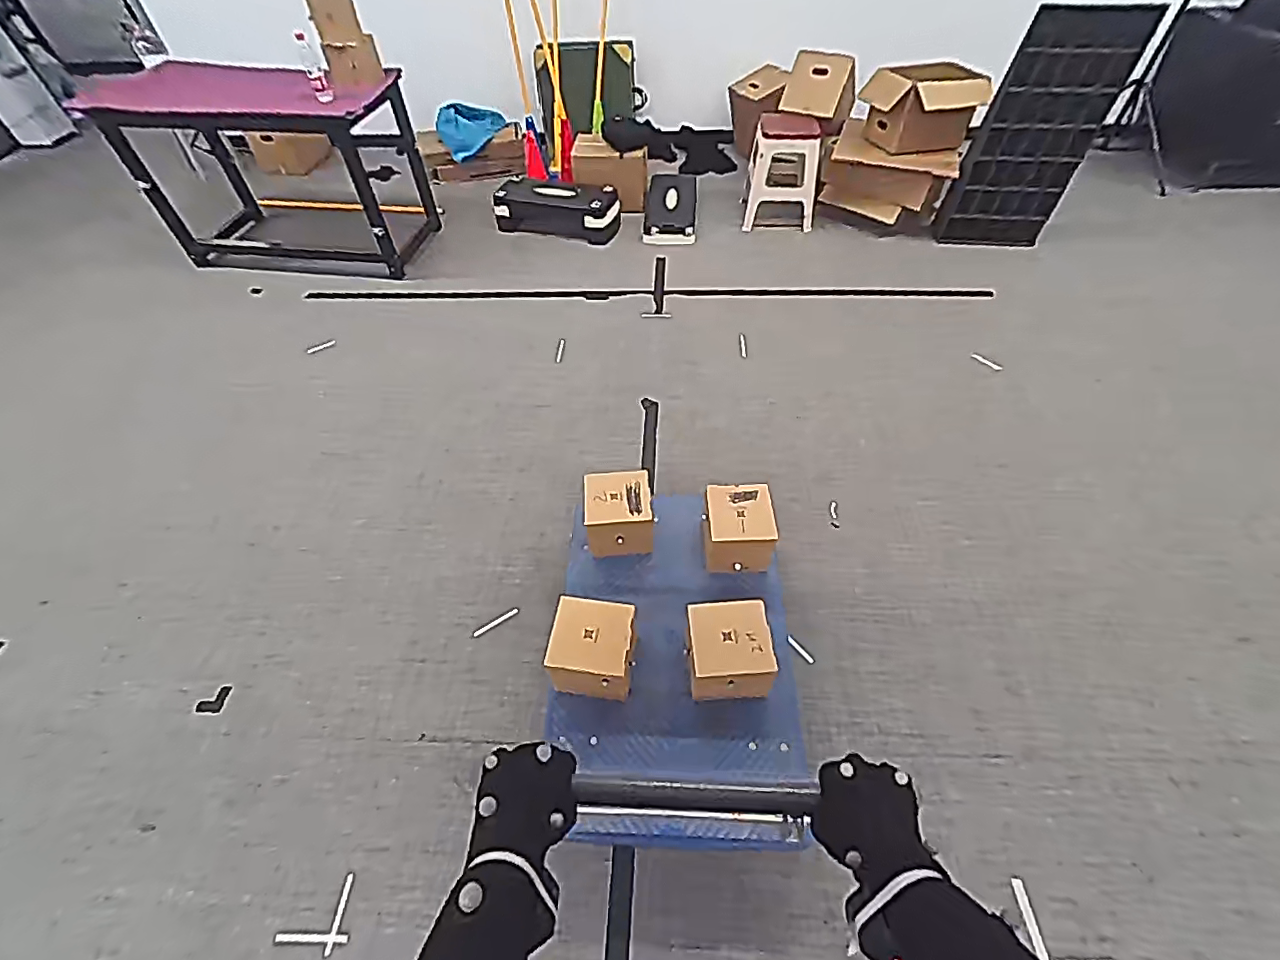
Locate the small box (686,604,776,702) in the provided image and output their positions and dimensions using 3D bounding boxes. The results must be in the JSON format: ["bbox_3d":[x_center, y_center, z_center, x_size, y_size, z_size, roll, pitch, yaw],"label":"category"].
[{"bbox_3d":[0.200,0.402,1.242,0.179,0.176,0.168,-4,51,-1],"label":"small box"}]

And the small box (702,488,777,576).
[{"bbox_3d":[0.260,0.141,1.449,0.168,0.176,0.179,-2,52,1],"label":"small box"}]

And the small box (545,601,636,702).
[{"bbox_3d":[-0.106,0.400,1.254,0.179,0.176,0.168,6,51,5],"label":"small box"}]
